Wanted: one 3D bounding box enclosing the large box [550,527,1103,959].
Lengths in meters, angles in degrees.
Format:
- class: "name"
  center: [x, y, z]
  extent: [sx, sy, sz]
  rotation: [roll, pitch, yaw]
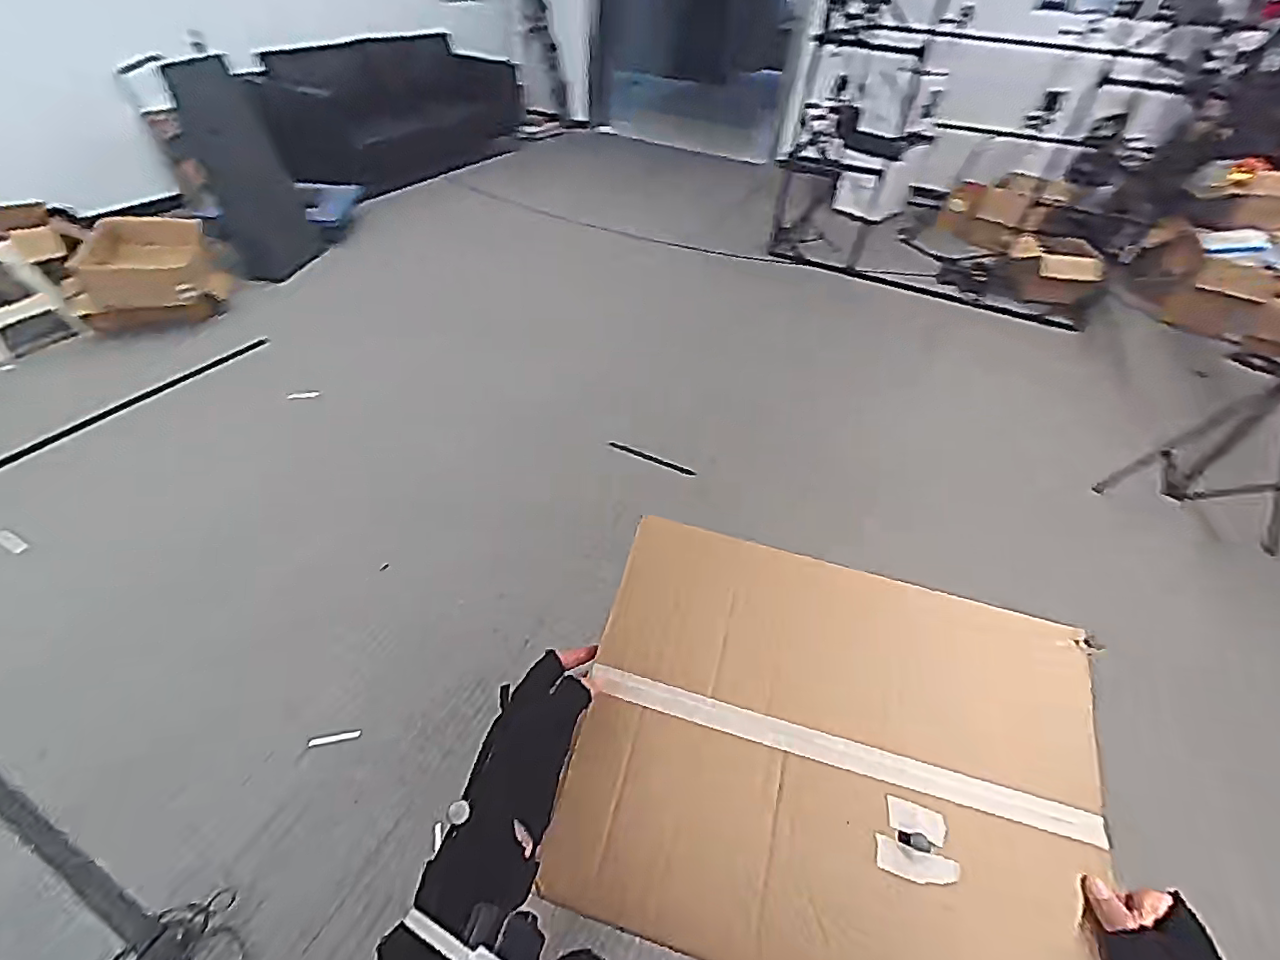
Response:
- class: "large box"
  center: [0.159, 0.289, 0.579]
  extent: [0.408, 0.320, 0.320]
  rotation: [14, 64, 8]
